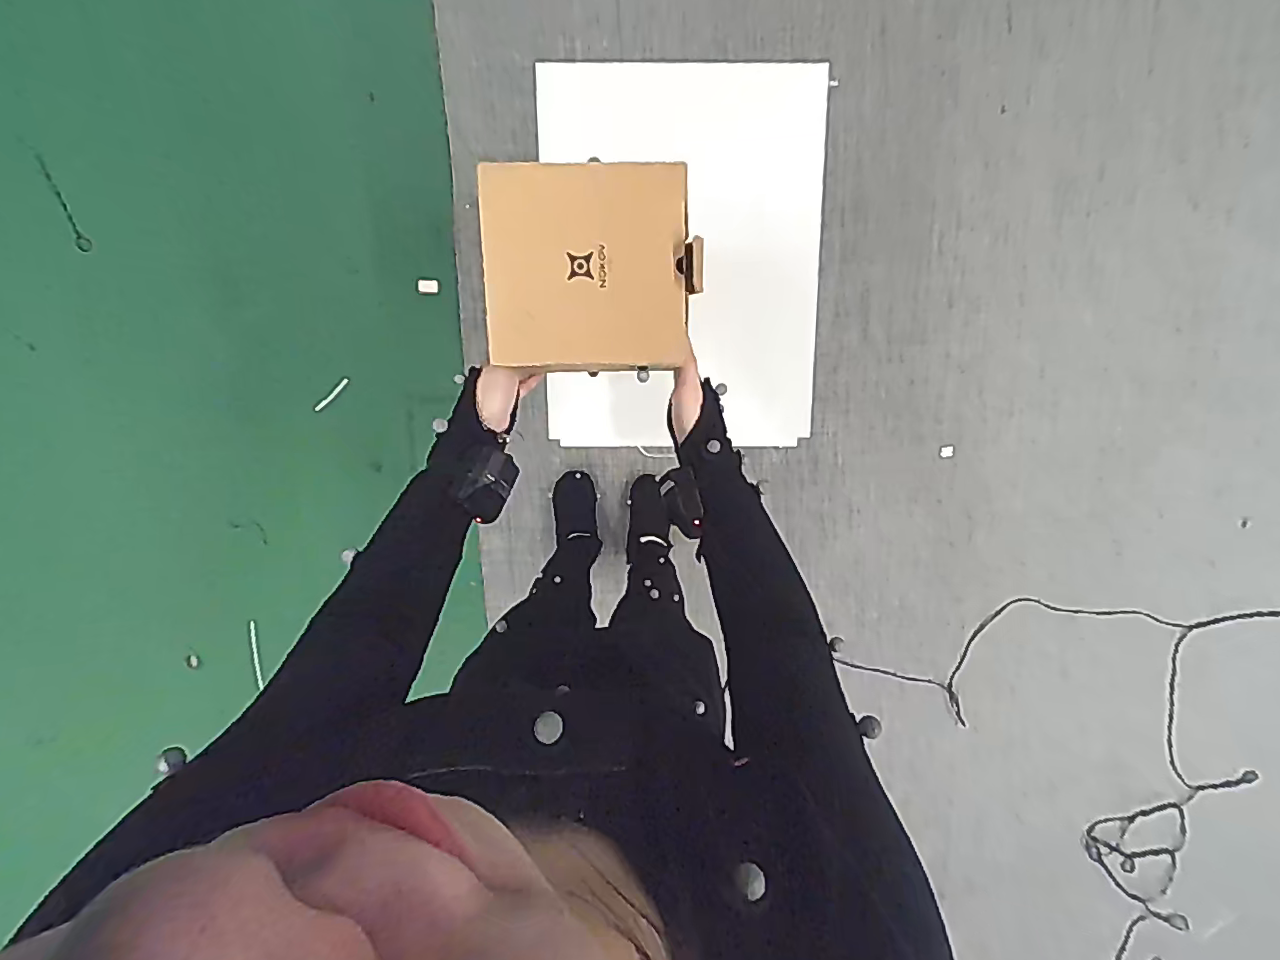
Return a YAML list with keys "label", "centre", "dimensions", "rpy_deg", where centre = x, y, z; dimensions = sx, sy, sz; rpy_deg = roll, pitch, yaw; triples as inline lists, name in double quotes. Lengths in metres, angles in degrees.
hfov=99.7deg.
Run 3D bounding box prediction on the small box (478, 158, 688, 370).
- label: "small box"
  centre: [-0.048, -0.197, 0.536]
  dimensions: [0.179, 0.176, 0.168]
  rpy_deg: [-1, 100, -2]
